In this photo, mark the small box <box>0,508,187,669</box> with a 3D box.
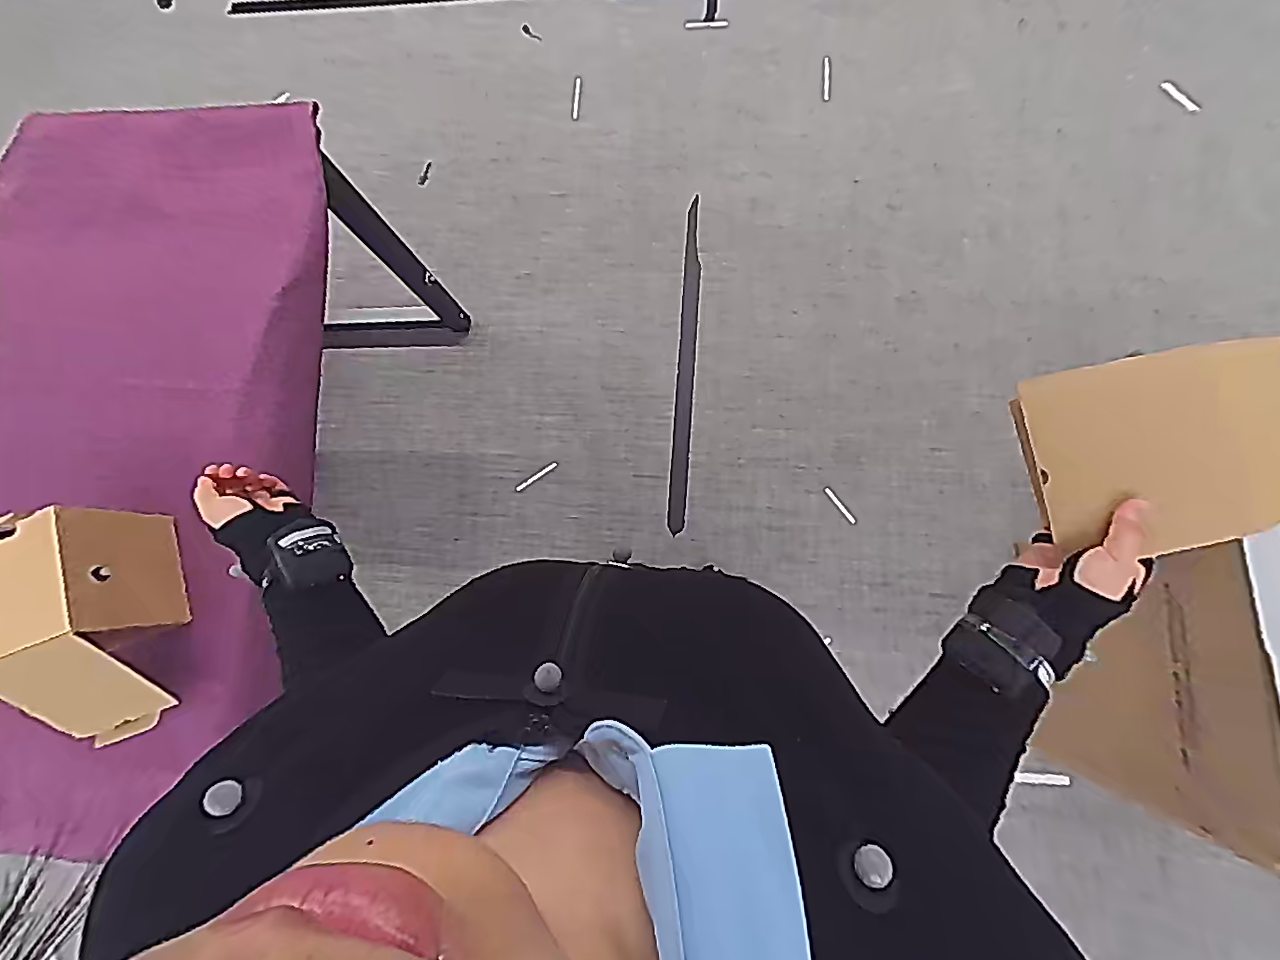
[{"bbox_3d":[-0.804,0.155,0.779,0.168,0.176,0.179,-20,78,2],"label":"small box"}]
